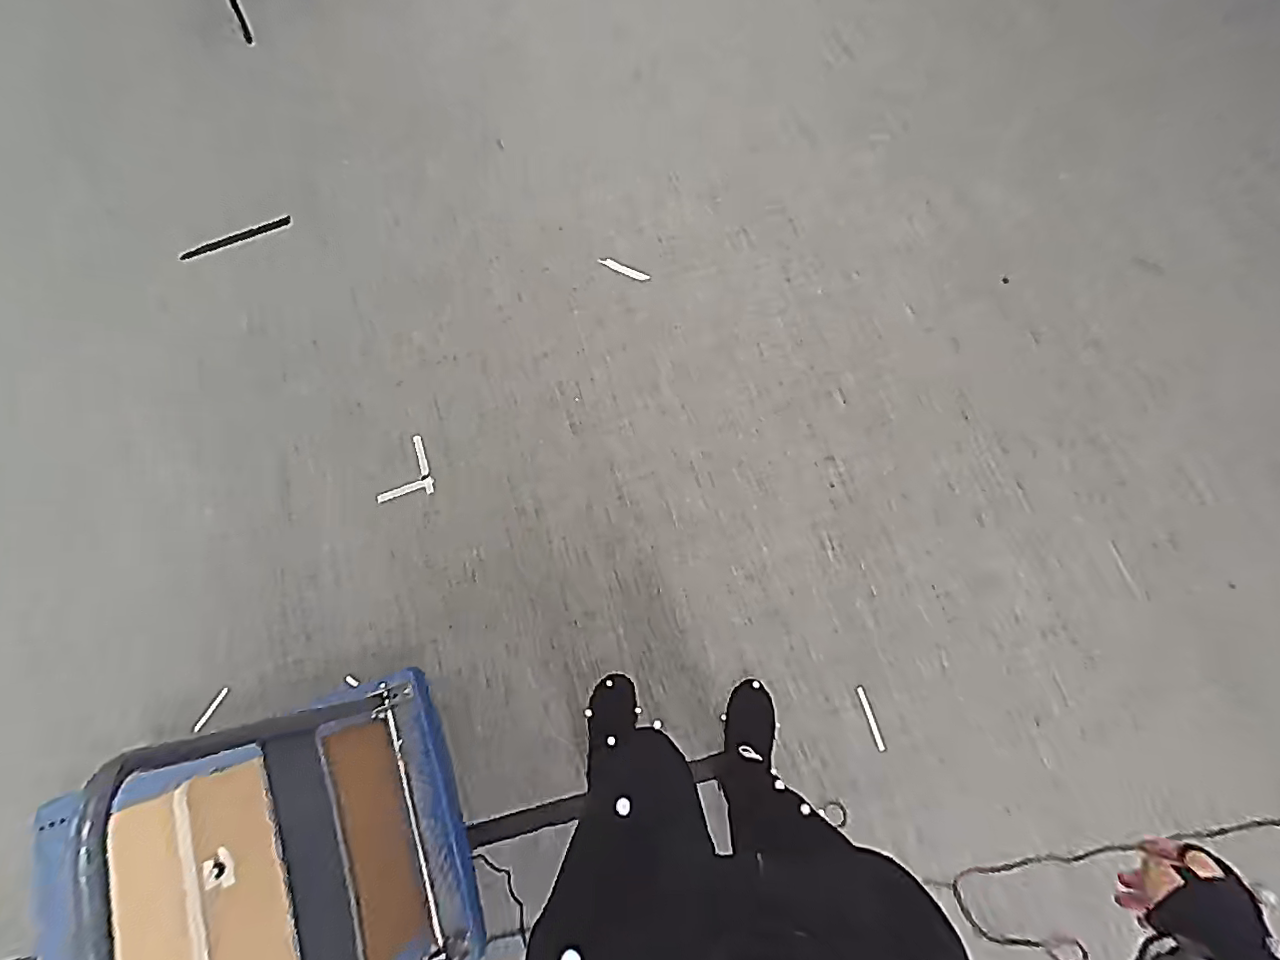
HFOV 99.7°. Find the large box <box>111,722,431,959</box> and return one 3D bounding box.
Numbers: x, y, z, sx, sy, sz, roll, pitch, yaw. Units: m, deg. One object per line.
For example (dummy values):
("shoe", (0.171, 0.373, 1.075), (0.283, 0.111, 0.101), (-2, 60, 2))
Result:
("large box", (-0.627, 0.708, 0.962), (0.320, 0.320, 0.408), (-21, 74, -1))
